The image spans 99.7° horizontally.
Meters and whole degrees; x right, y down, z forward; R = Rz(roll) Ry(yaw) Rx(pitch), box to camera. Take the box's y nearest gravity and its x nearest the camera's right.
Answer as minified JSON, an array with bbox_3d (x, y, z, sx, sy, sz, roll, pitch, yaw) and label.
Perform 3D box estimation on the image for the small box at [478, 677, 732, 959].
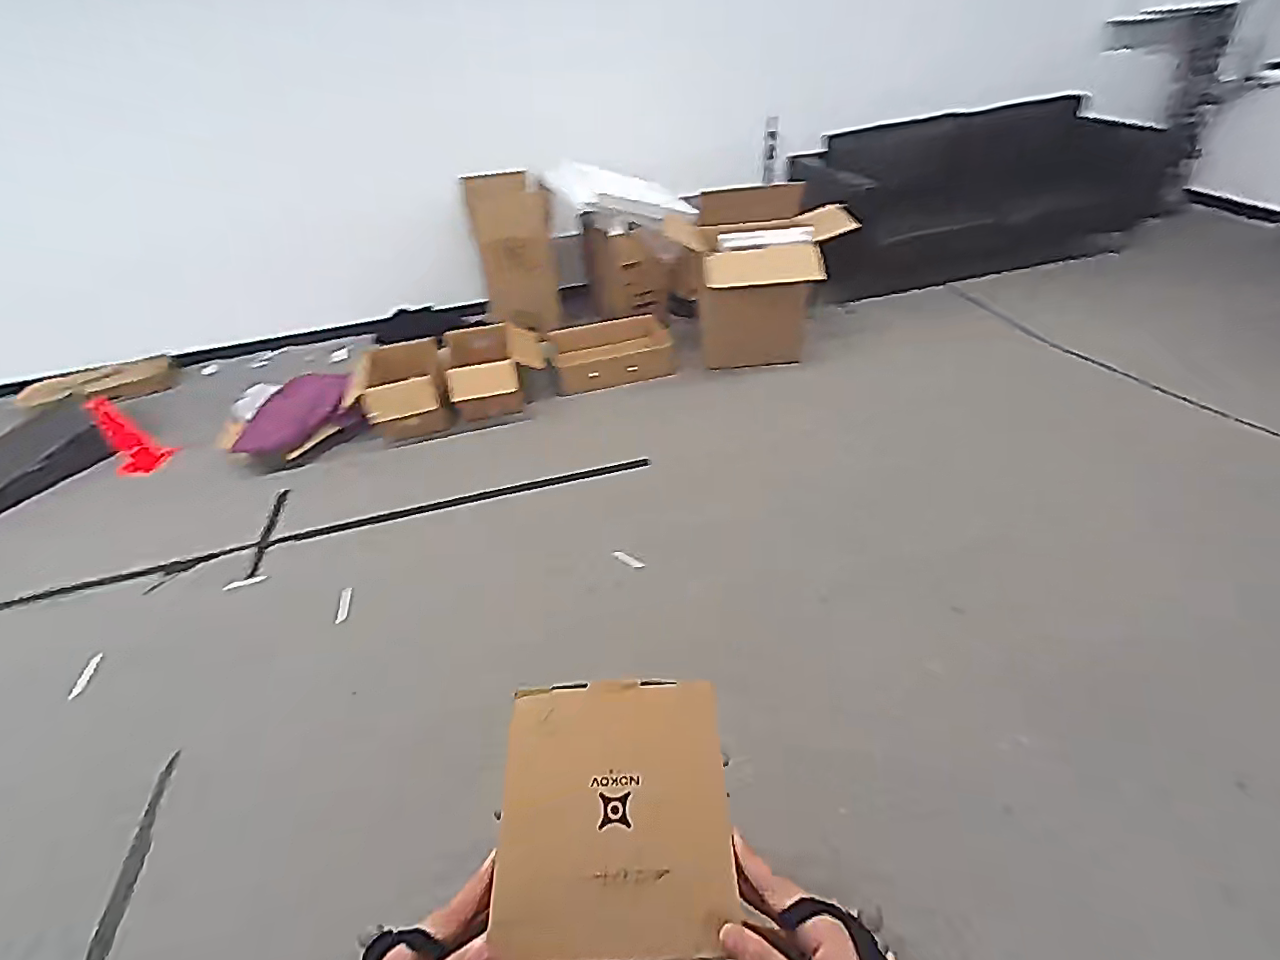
[{"bbox_3d":[-0.025,0.286,0.457,0.168,0.176,0.179,-3,50,-1],"label":"small box"}]
